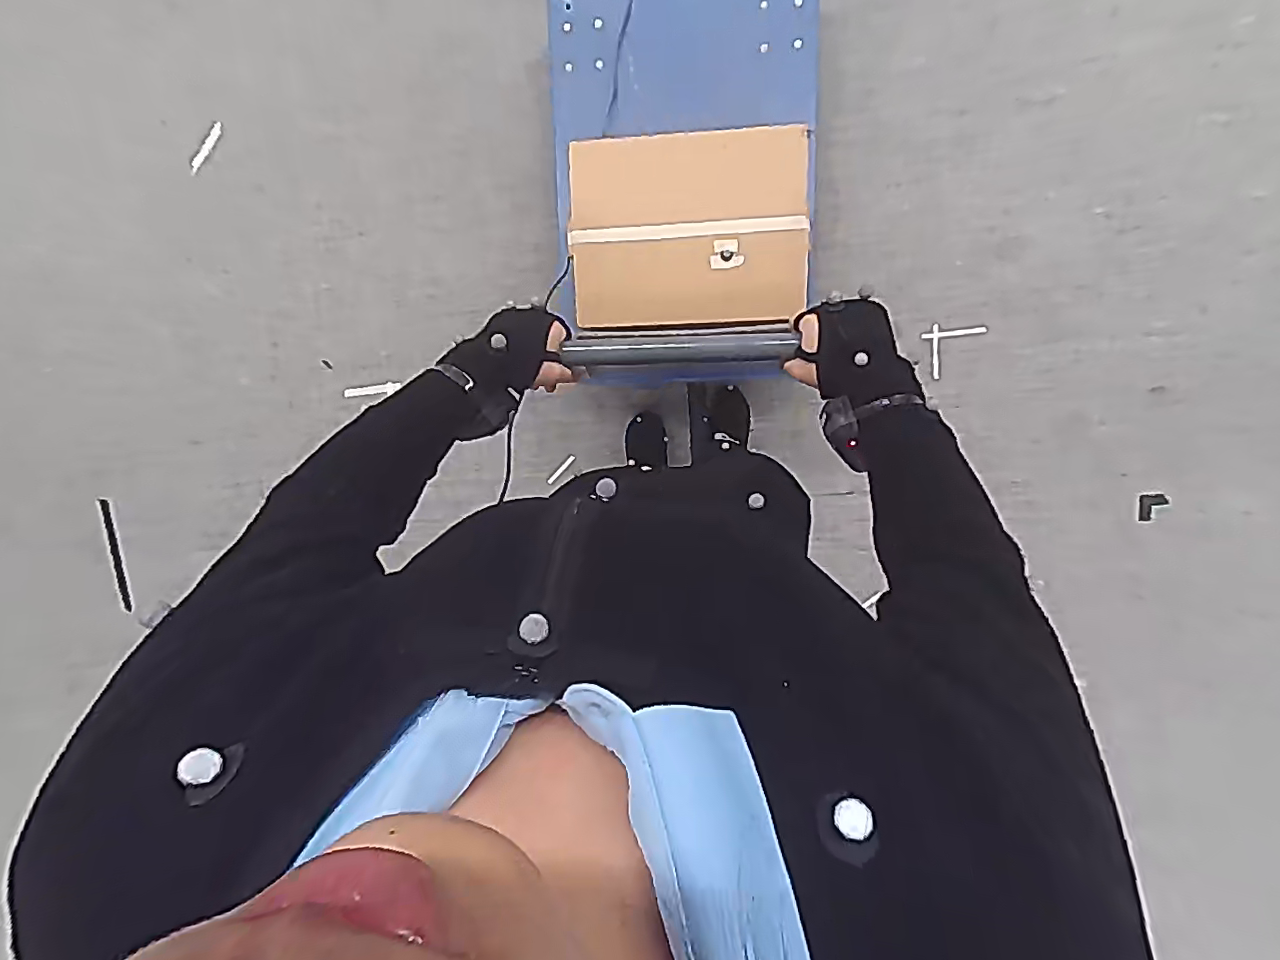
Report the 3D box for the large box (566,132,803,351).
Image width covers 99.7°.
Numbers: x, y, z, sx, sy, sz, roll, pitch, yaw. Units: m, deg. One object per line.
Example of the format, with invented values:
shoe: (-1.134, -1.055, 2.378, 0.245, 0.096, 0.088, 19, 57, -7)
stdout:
large box: (0.088, -0.436, 1.074, 0.408, 0.320, 0.320, -1, 99, 5)
